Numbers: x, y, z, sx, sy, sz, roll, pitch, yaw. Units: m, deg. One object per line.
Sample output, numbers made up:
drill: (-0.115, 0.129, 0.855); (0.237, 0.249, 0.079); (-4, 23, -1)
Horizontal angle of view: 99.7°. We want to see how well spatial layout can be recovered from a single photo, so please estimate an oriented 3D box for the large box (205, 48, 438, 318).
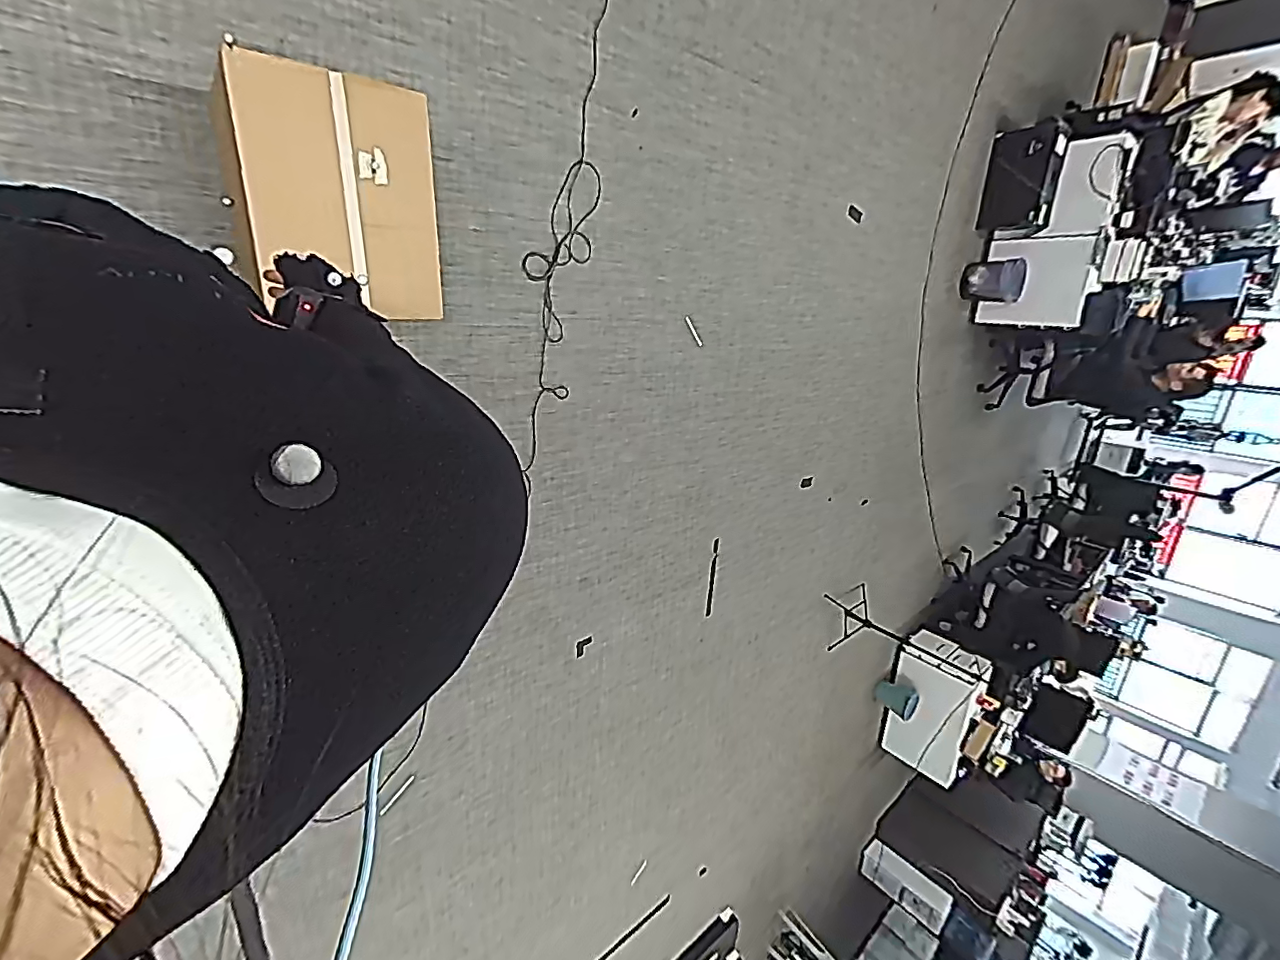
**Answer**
large box: (-0.637, -0.541, 1.093); (0.320, 0.320, 0.408); (-14, 113, -40)
